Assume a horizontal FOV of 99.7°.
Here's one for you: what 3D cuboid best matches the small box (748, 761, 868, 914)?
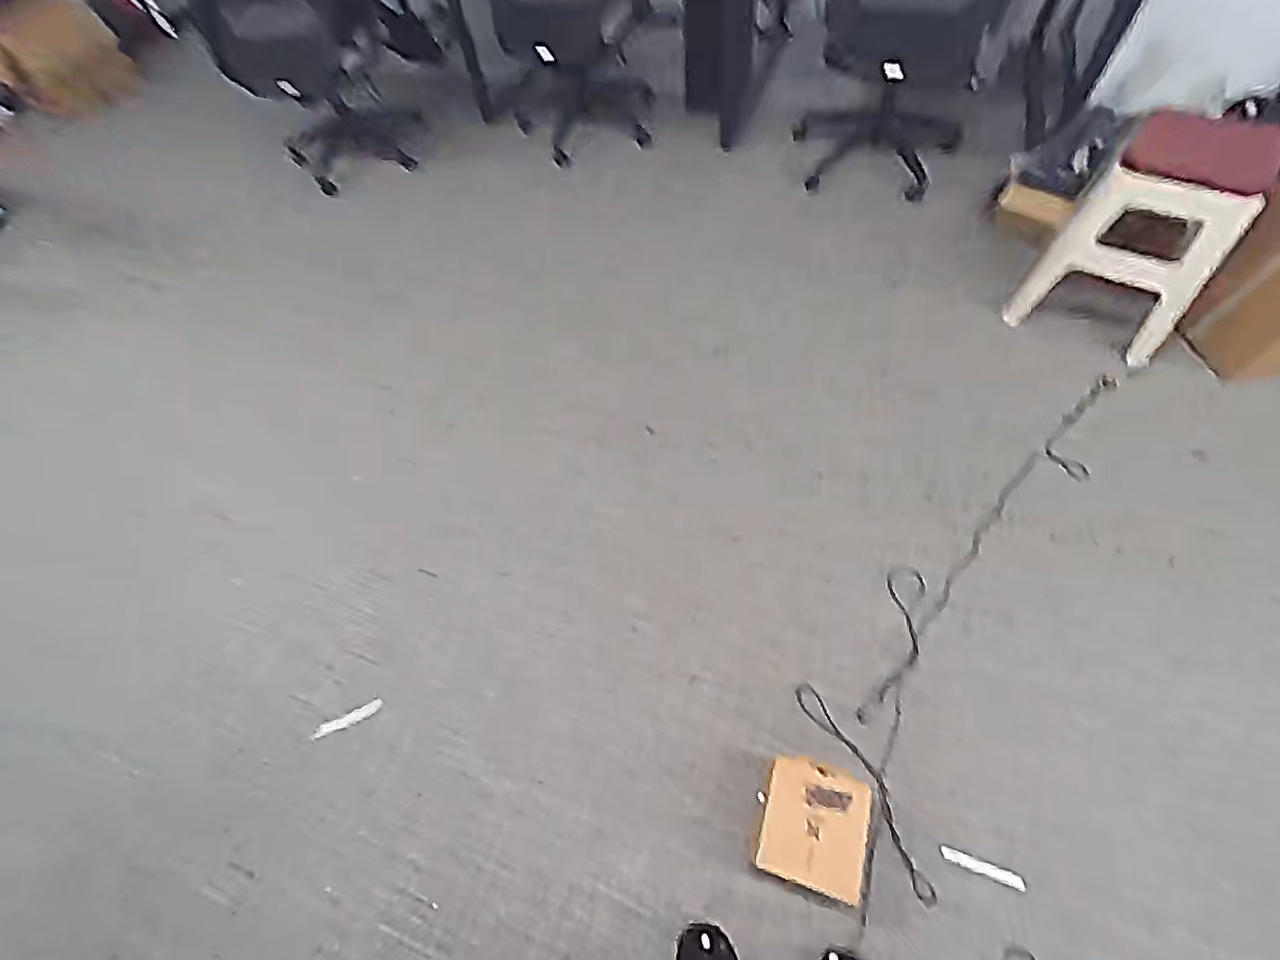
[{"bbox_3d":[0.296,0.634,0.977,0.168,0.176,0.179,14,62,14],"label":"small box"}]
